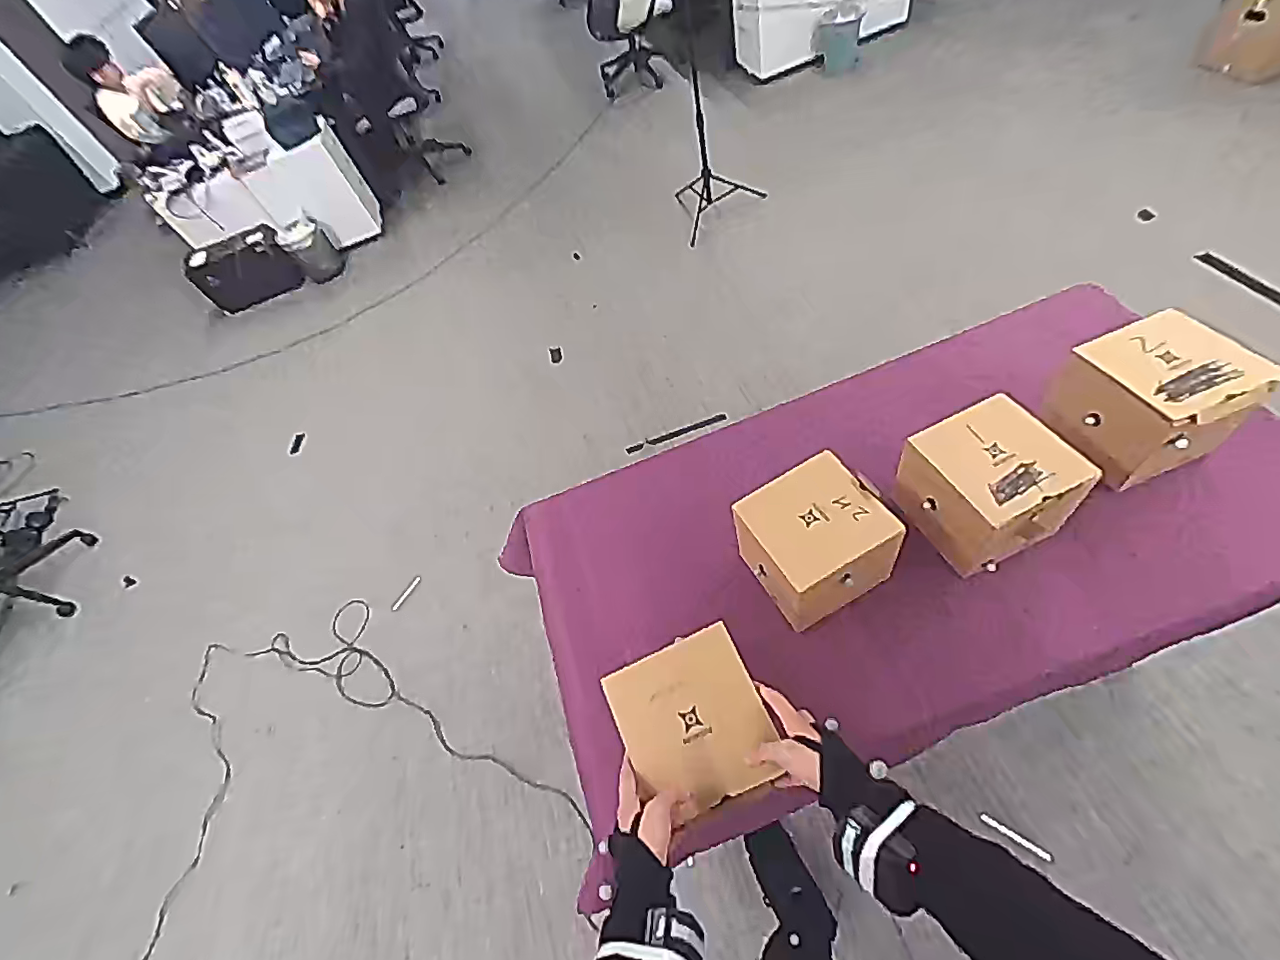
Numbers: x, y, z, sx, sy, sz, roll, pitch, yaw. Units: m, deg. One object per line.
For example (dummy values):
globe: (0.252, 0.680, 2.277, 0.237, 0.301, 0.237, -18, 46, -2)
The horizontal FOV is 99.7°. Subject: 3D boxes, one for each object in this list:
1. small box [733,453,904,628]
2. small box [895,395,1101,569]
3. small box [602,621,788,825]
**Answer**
small box: (0.265, 0.098, 0.825, 0.179, 0.176, 0.168, -29, 54, -5)
small box: (0.516, 0.013, 0.813, 0.168, 0.176, 0.179, -26, 53, -3)
small box: (0.073, 0.302, 0.697, 0.168, 0.176, 0.179, -25, 66, 0)
